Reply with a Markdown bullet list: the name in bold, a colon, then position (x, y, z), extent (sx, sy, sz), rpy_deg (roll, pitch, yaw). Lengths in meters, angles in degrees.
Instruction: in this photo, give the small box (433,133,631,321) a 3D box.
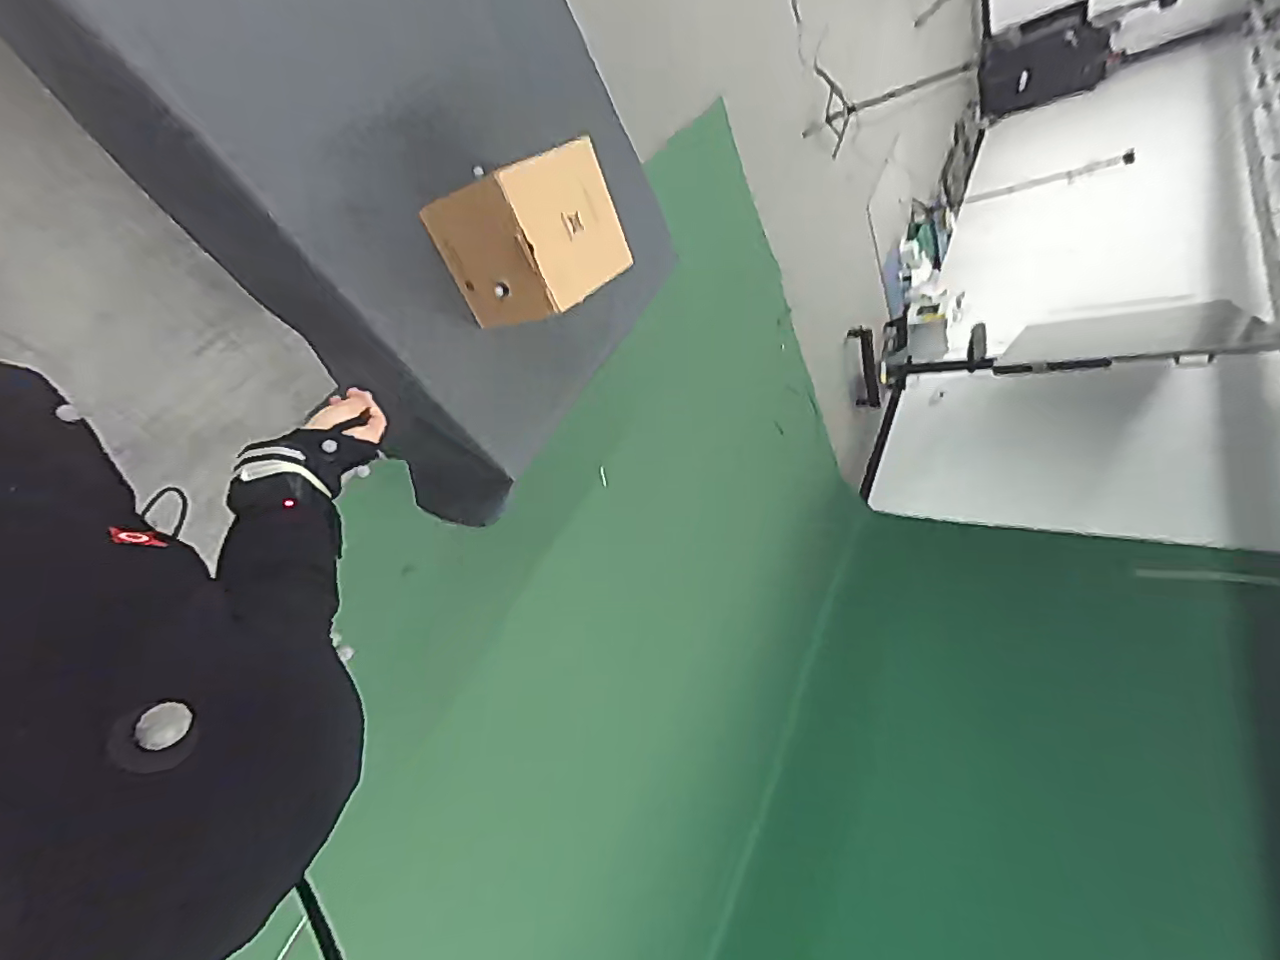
- **small box**: position (-0.147, -0.330, 0.725), extent (0.179, 0.176, 0.168), rpy_deg (-51, 131, -36)
